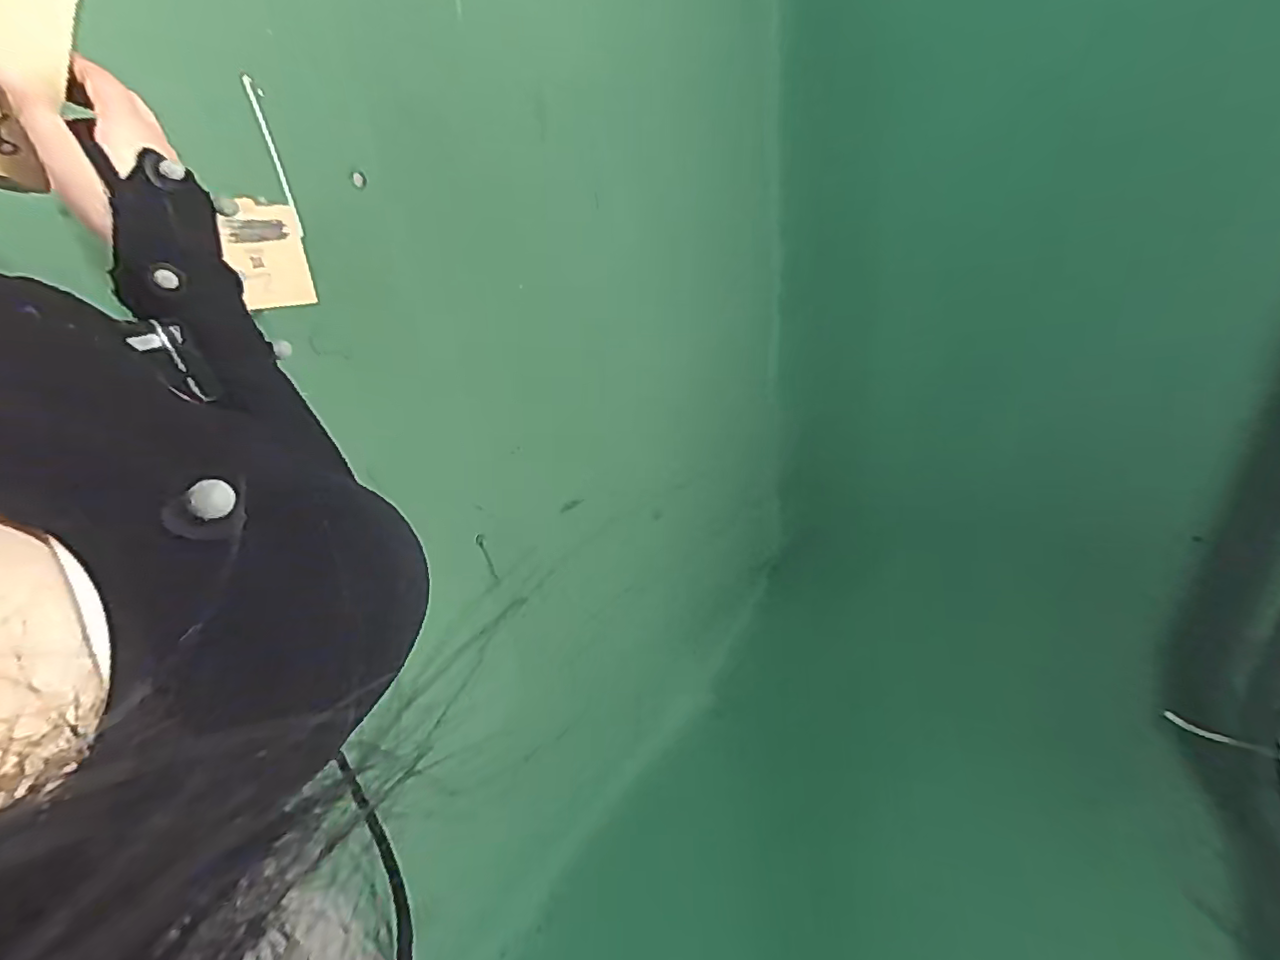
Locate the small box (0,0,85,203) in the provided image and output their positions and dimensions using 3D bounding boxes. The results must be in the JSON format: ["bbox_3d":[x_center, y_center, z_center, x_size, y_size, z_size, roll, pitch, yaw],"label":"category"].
[{"bbox_3d":[-0.485,-0.300,0.333,0.168,0.176,0.179,6,104,-57],"label":"small box"}]

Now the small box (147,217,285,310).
[{"bbox_3d":[-0.880,-0.442,1.119,0.179,0.176,0.168,-26,121,-46],"label":"small box"}]
